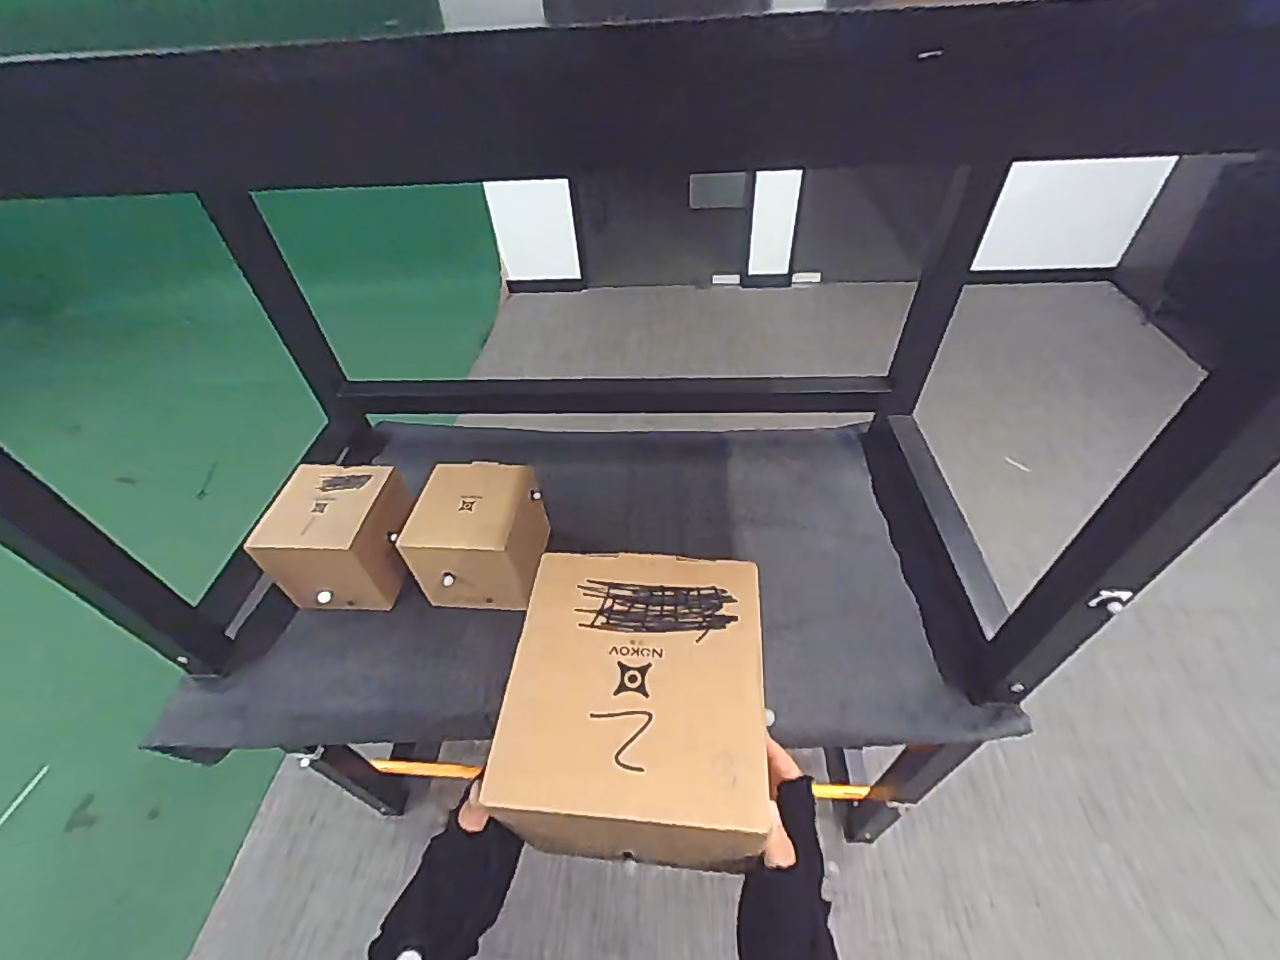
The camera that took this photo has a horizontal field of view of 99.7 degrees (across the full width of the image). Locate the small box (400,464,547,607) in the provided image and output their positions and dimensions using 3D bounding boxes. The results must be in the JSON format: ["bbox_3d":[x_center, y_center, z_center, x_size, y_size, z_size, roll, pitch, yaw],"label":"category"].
[{"bbox_3d":[-0.259,0.093,0.894,0.168,0.176,0.179,2,45,5],"label":"small box"}]

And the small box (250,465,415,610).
[{"bbox_3d":[-0.487,0.095,0.904,0.168,0.176,0.179,1,45,4],"label":"small box"}]
